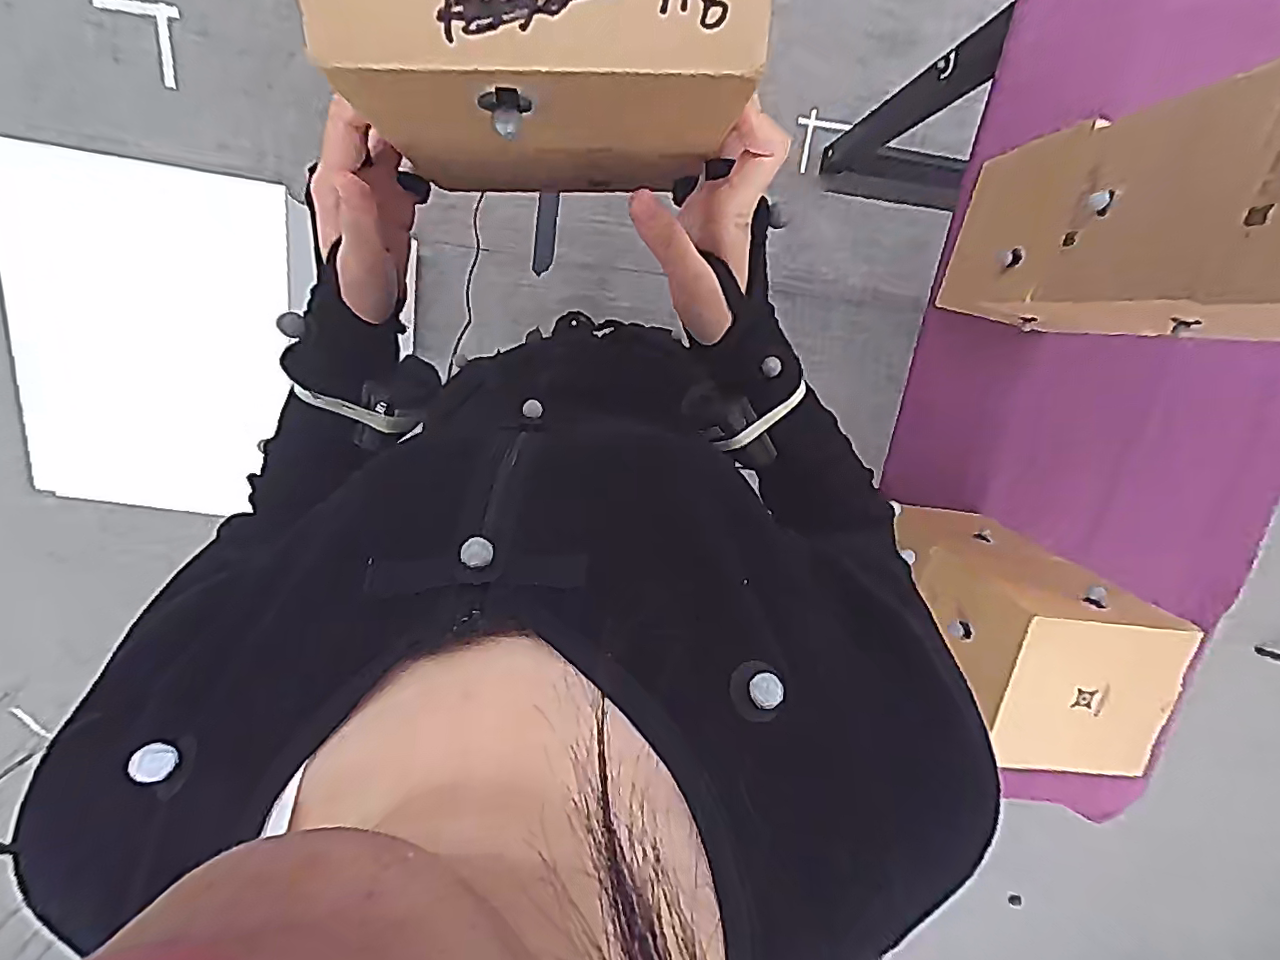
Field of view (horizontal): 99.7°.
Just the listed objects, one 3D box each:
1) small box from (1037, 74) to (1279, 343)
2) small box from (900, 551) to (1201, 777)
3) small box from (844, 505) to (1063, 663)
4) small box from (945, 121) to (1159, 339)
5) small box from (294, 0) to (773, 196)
[{"bbox_3d":[0.510,-0.219,0.470,0.179,0.176,0.168,10,106,-5],"label":"small box"},{"bbox_3d":[0.420,0.187,0.590,0.179,0.176,0.168,6,105,-6],"label":"small box"},{"bbox_3d":[0.414,0.142,0.747,0.179,0.176,0.168,8,105,-4],"label":"small box"},{"bbox_3d":[0.493,-0.271,0.625,0.168,0.176,0.179,11,106,-7],"label":"small box"},{"bbox_3d":[-0.042,-0.249,0.247,0.168,0.176,0.179,-3,105,-5],"label":"small box"}]
